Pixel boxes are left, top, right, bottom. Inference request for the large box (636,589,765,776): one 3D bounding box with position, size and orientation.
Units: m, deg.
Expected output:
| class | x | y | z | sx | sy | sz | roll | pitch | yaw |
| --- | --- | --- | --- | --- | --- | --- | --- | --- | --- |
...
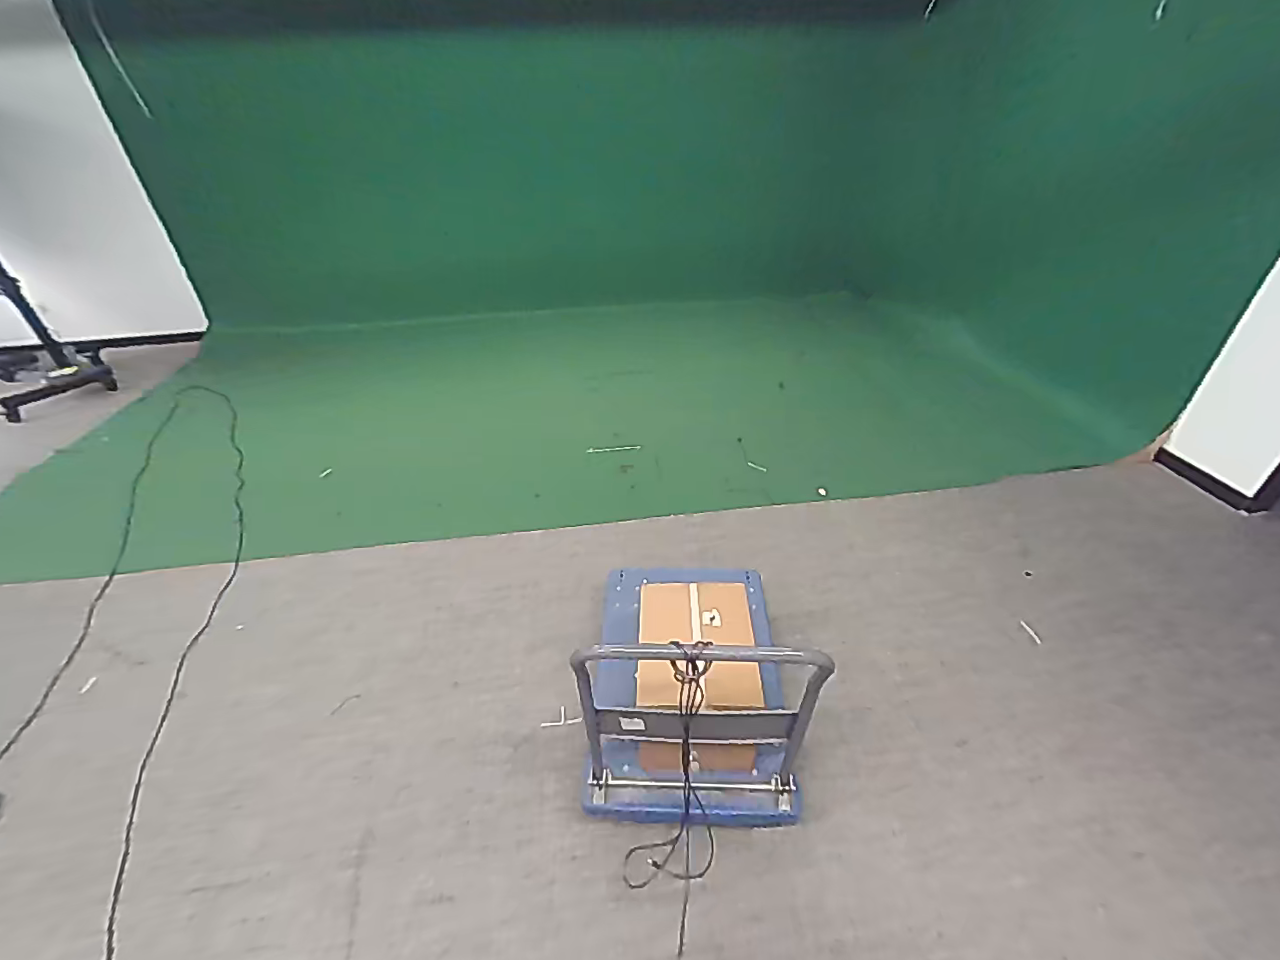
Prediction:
| class | x | y | z | sx | sy | sz | roll | pitch | yaw |
| --- | --- | --- | --- | --- | --- | --- | --- | --- | --- |
| large box | 0.157 | 0.563 | 1.530 | 0.320 | 0.320 | 0.408 | 0 | 35 | 3 |
